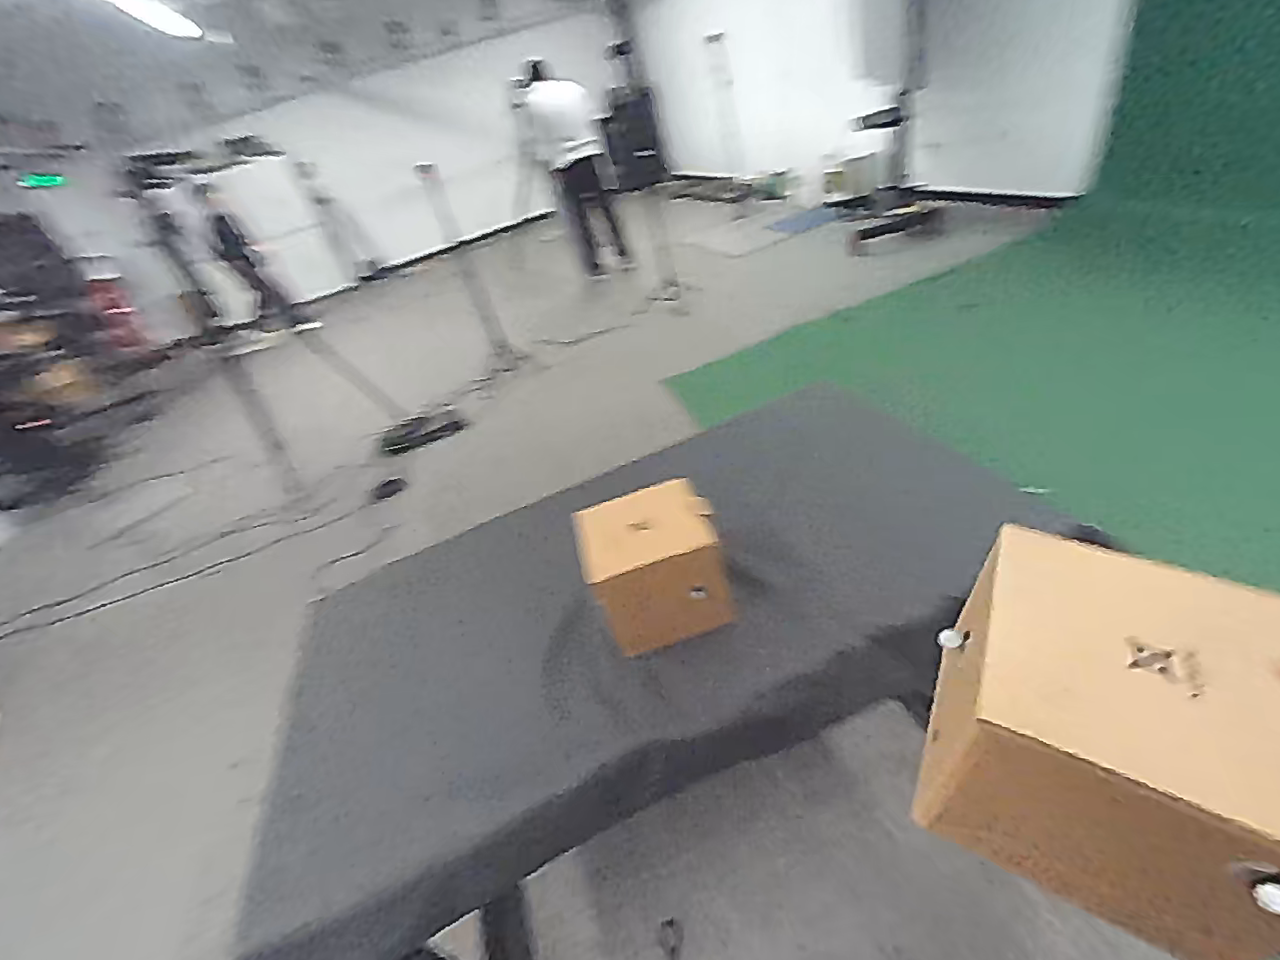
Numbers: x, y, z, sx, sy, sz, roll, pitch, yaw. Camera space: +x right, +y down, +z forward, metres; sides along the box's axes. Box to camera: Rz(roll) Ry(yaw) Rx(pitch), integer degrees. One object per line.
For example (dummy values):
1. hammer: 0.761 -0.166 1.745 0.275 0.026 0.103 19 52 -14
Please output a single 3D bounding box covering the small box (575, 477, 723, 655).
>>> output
1. small box: 0.017 0.129 0.815 0.179 0.176 0.168 -20 34 -2
